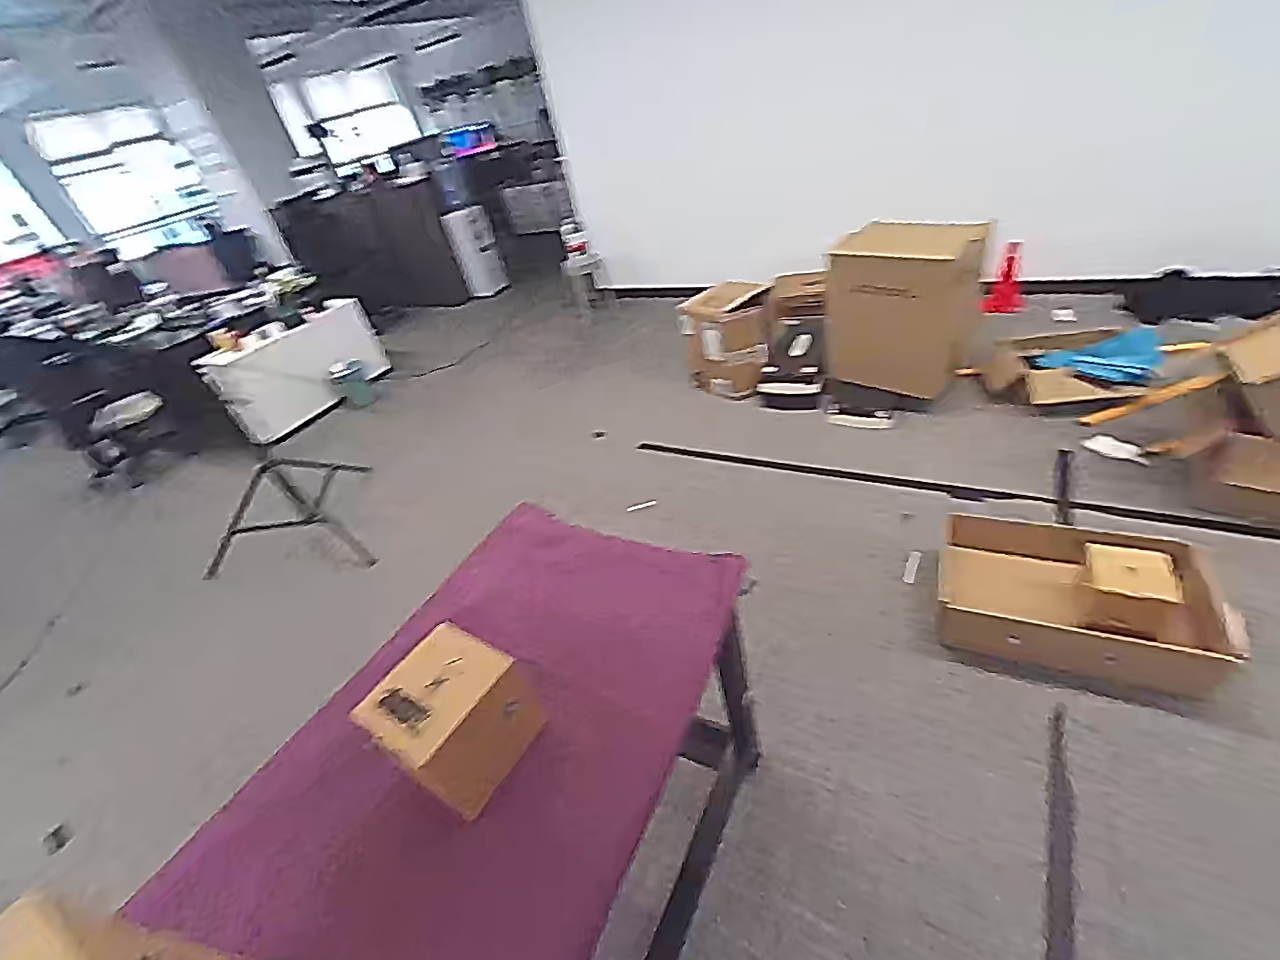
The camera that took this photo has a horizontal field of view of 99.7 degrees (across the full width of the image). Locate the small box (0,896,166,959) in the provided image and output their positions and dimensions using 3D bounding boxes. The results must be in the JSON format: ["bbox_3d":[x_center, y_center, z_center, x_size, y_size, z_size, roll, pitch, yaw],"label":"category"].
[{"bbox_3d":[-0.498,0.496,0.435,0.168,0.176,0.179,10,42,29],"label":"small box"}]

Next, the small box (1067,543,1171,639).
[{"bbox_3d":[1.311,0.305,1.494,0.168,0.176,0.179,6,41,26],"label":"small box"}]

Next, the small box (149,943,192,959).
[{"bbox_3d":[-0.473,0.622,0.539,0.179,0.176,0.168,10,42,29],"label":"small box"}]
